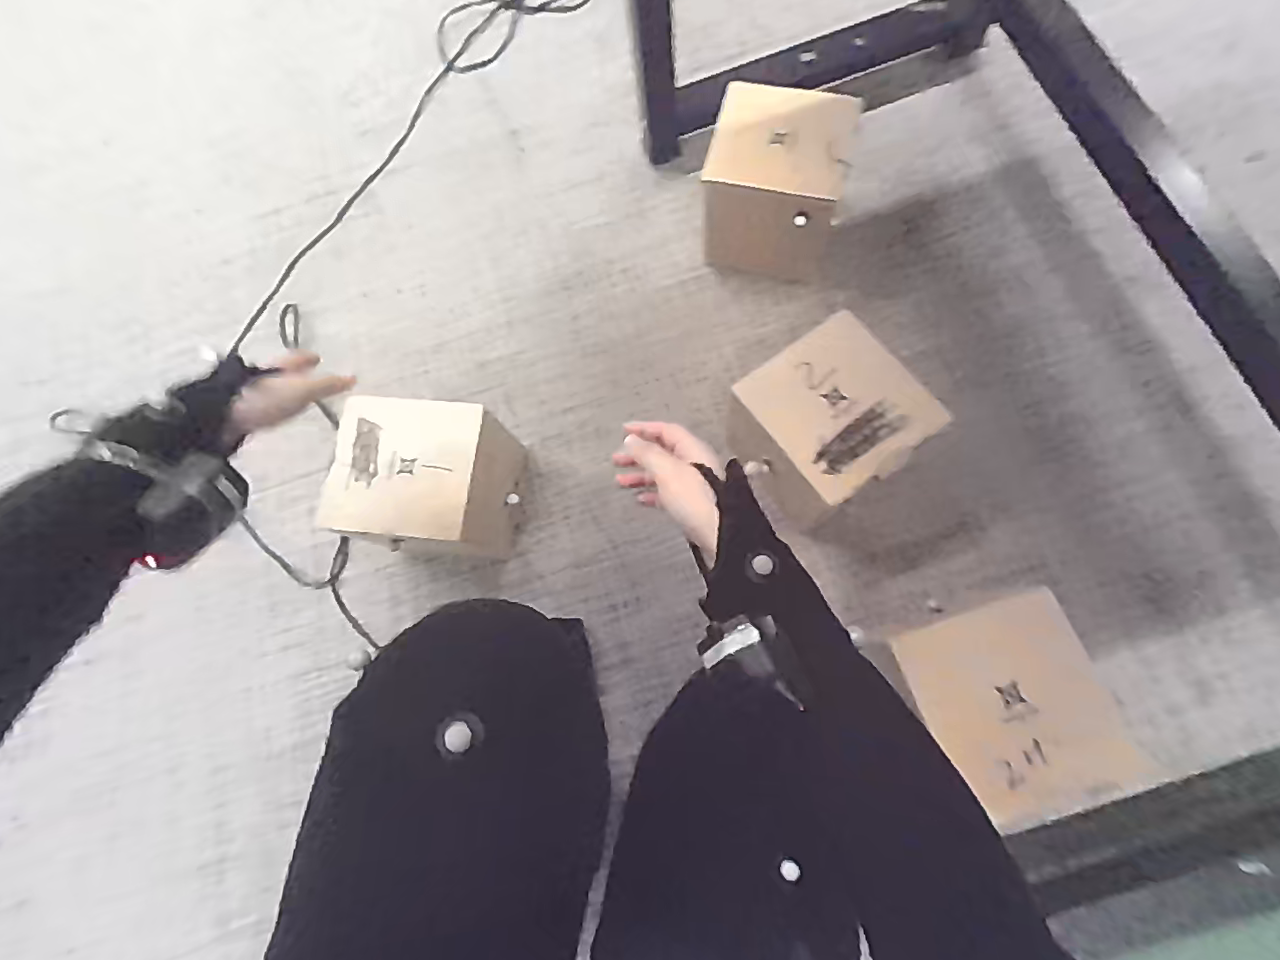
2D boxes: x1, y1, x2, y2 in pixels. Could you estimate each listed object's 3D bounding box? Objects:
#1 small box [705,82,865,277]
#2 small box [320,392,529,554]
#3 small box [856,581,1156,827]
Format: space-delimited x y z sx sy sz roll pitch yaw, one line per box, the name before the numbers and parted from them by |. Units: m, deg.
small box | 0.194 -0.415 0.767 0.179 0.176 0.168 14 76 9
small box | -0.262 -0.001 0.699 0.179 0.176 0.168 5 75 7
small box | 0.354 0.221 0.570 0.168 0.176 0.179 -20 74 1
